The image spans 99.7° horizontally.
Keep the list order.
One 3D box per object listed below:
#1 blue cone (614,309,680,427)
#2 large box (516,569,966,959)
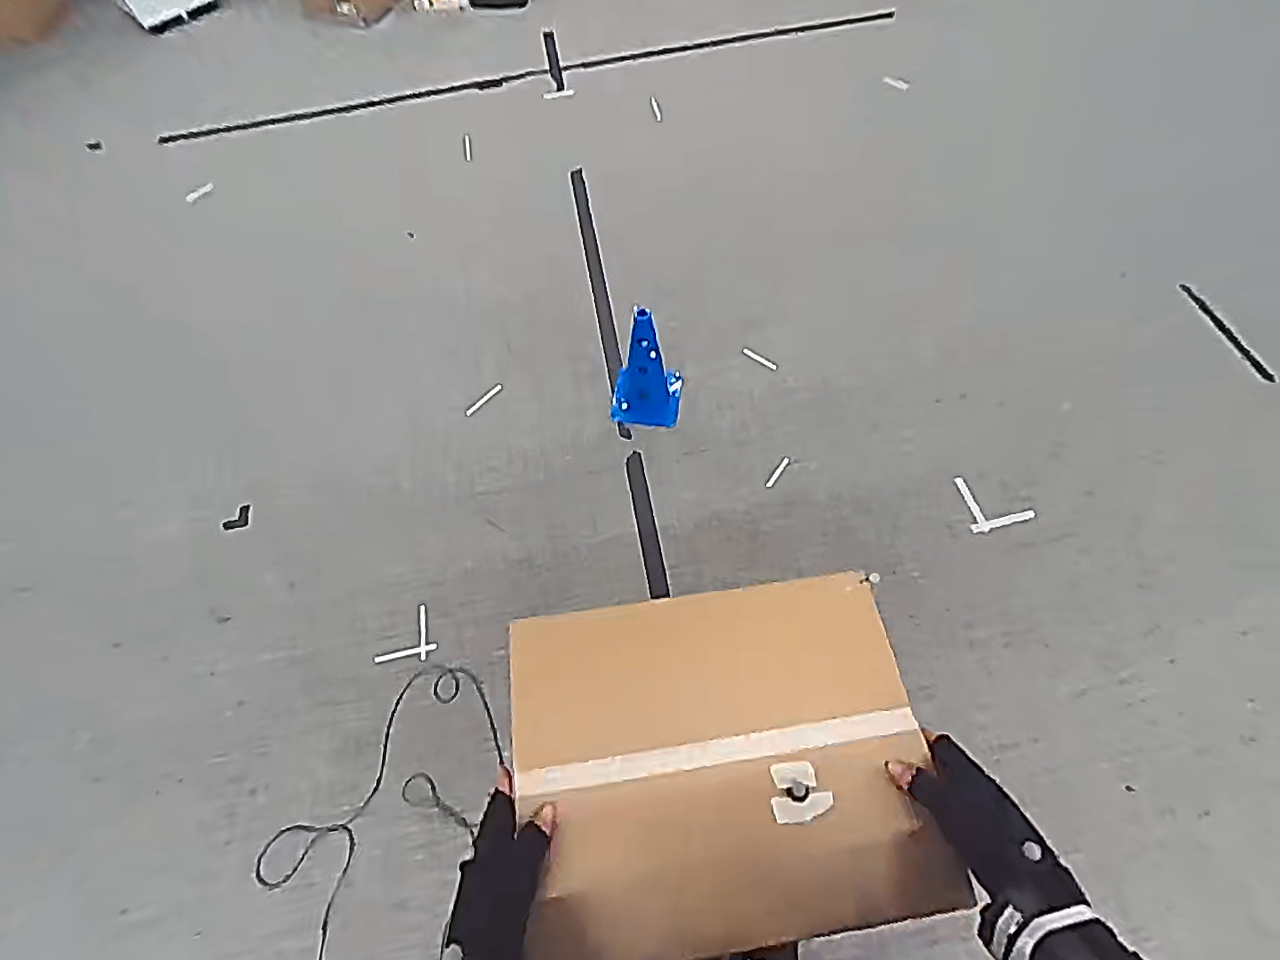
[{"bbox_3d":[0.014,-0.322,1.508,0.193,0.380,0.192,8,64,7],"label":"blue cone"},{"bbox_3d":[0.080,0.333,0.676,0.408,0.320,0.320,-7,63,-3],"label":"large box"}]
